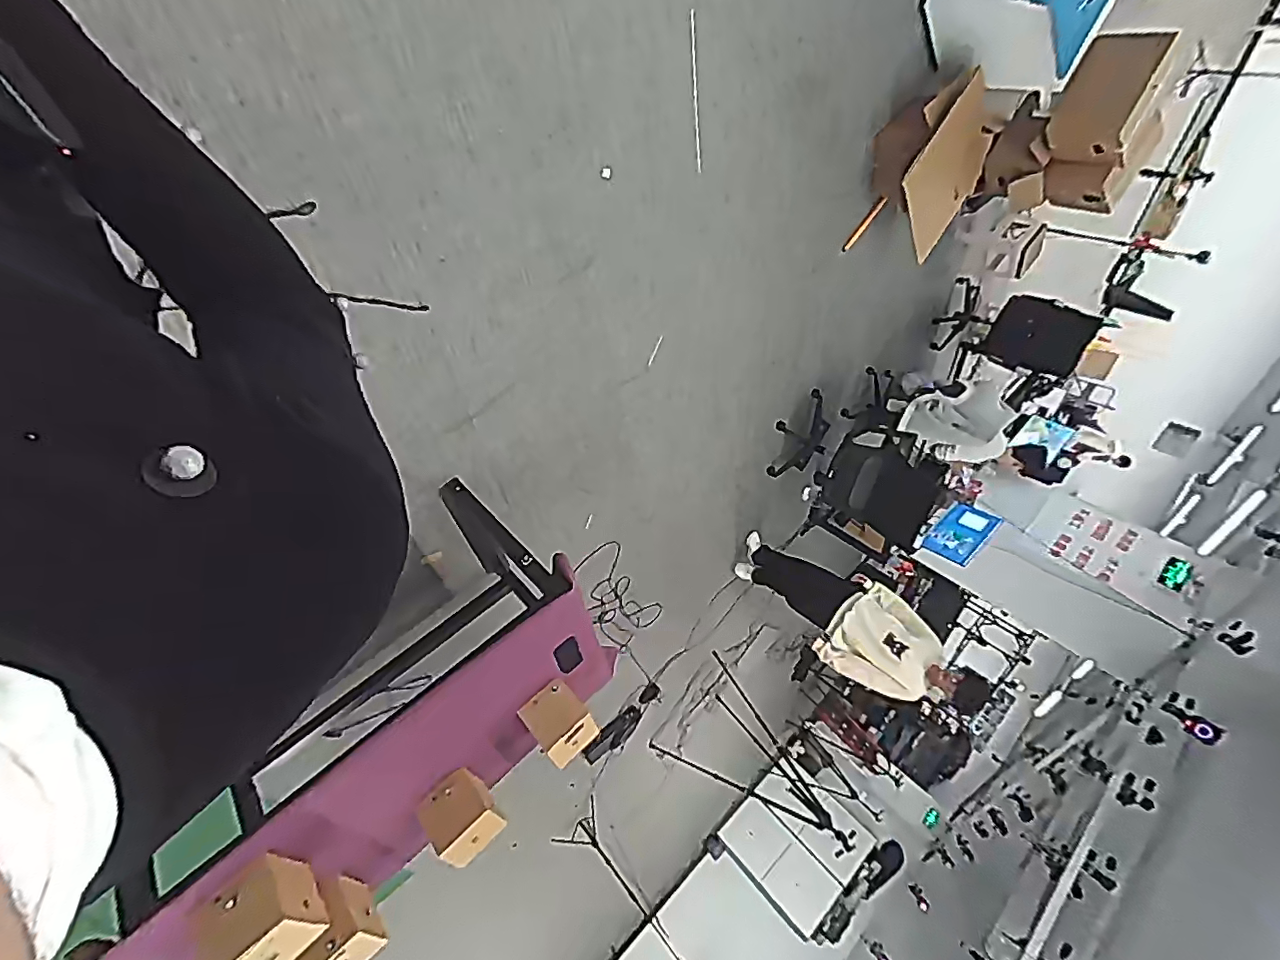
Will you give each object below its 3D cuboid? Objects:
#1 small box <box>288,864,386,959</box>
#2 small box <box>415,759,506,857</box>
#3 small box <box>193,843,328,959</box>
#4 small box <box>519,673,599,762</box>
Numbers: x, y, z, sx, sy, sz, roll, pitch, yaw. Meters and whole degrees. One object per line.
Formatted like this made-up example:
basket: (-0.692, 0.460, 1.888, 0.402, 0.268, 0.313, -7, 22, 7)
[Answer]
small box: (-0.817, 1.172, 1.442, 0.168, 0.176, 0.179, -36, 141, -24)
small box: (-0.528, 0.961, 1.593, 0.168, 0.176, 0.179, -37, 141, -23)
small box: (-0.852, 0.961, 1.218, 0.168, 0.176, 0.179, -38, 141, -23)
small box: (-0.258, 0.744, 1.711, 0.168, 0.176, 0.179, -36, 142, -22)
